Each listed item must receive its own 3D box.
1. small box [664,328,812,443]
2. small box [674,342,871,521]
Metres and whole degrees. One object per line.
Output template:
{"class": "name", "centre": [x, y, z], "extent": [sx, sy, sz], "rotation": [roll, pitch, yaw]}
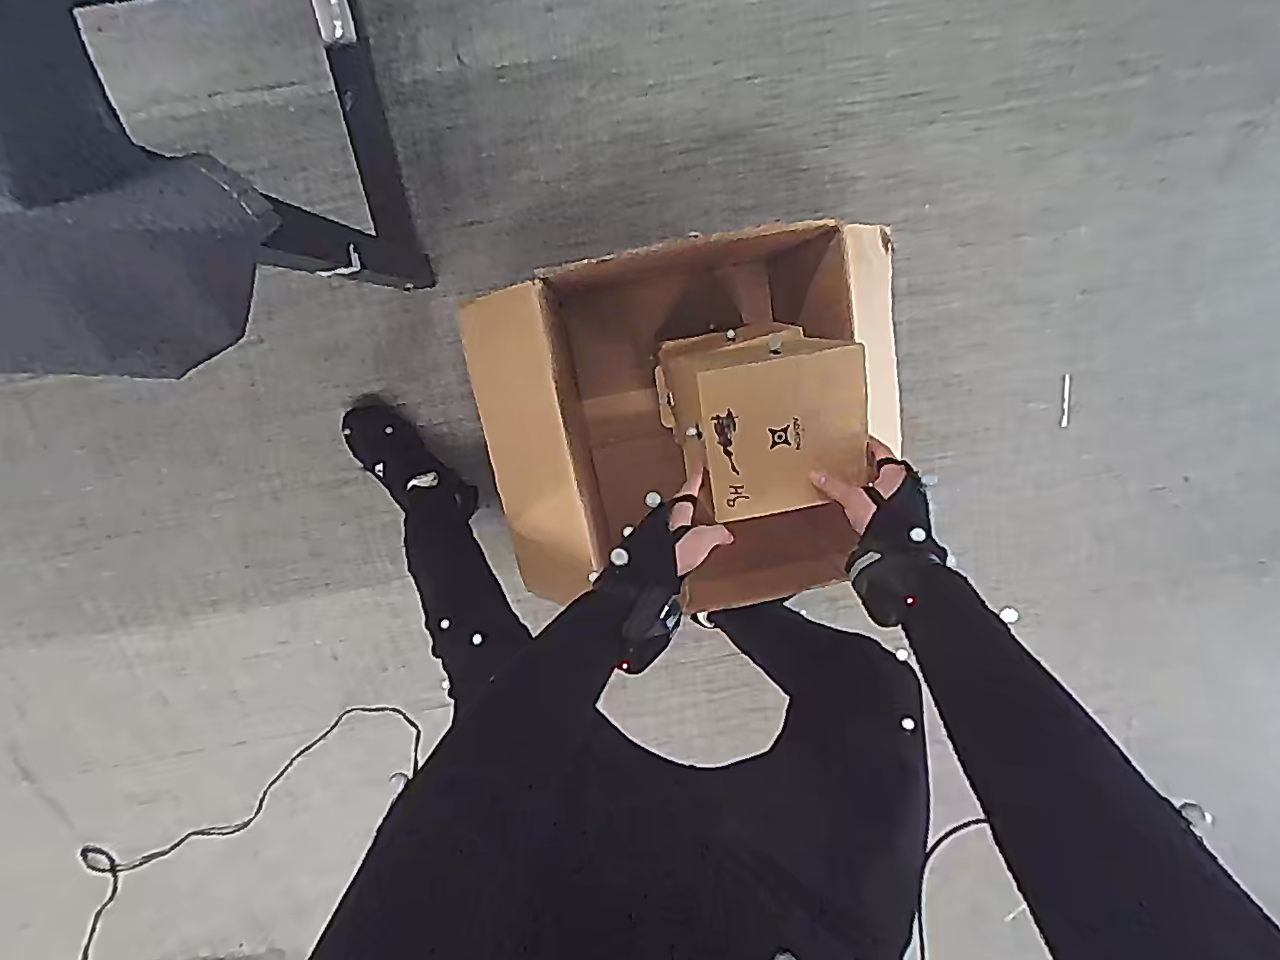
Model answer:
{"class": "small box", "centre": [0.144, -0.117, 0.780], "extent": [0.179, 0.176, 0.168], "rotation": [-15, 108, 1]}
{"class": "small box", "centre": [0.148, -0.068, 0.640], "extent": [0.179, 0.176, 0.168], "rotation": [-10, 106, -3]}
